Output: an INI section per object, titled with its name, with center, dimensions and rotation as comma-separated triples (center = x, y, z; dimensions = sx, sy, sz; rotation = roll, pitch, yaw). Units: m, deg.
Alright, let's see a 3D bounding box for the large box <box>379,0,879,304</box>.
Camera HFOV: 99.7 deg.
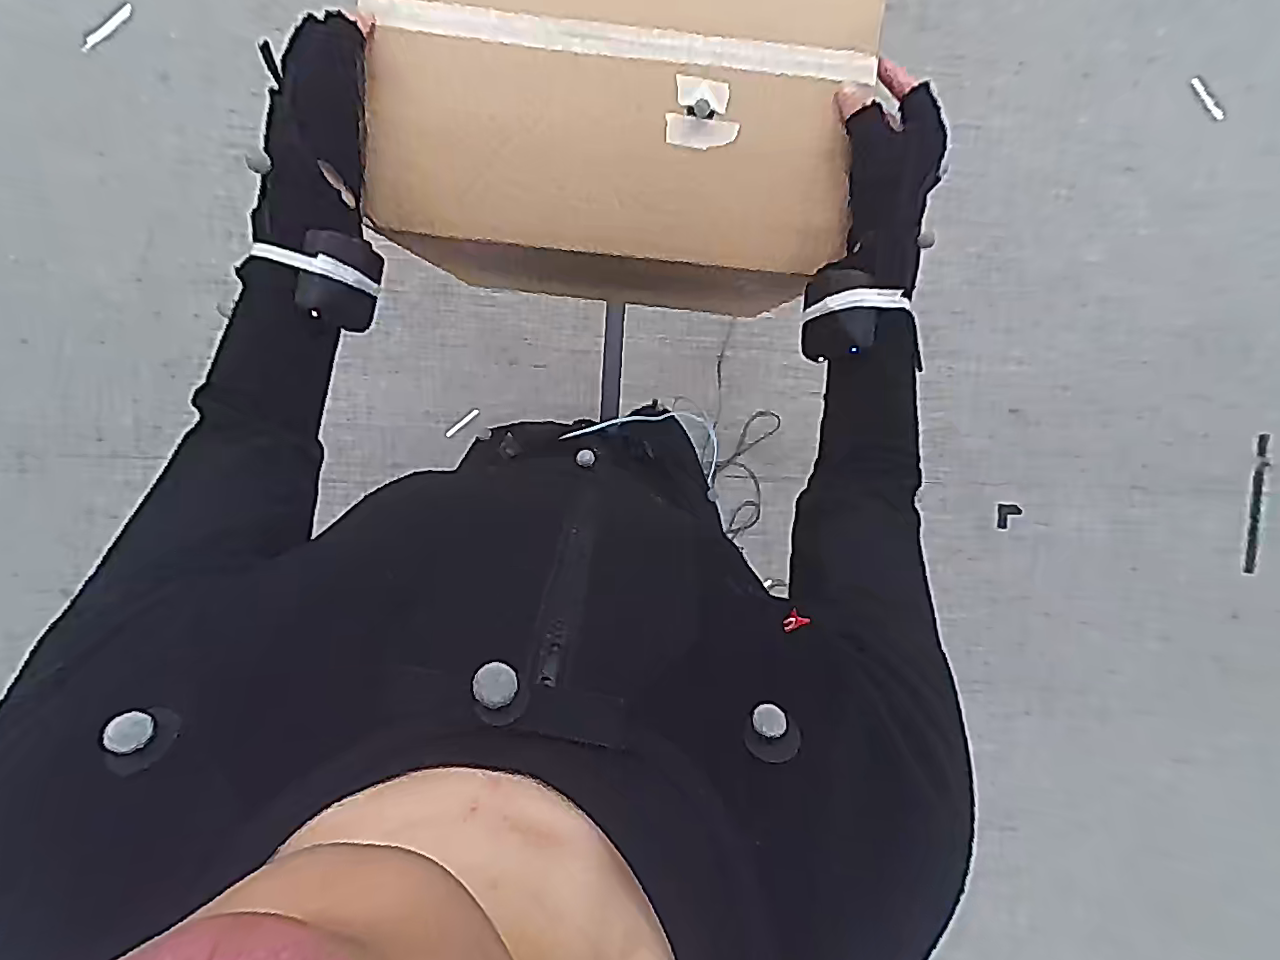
[large box]
center = -0.016, -0.383, 0.583
dimensions = 0.408, 0.320, 0.320
rotation = 5, 102, -3
